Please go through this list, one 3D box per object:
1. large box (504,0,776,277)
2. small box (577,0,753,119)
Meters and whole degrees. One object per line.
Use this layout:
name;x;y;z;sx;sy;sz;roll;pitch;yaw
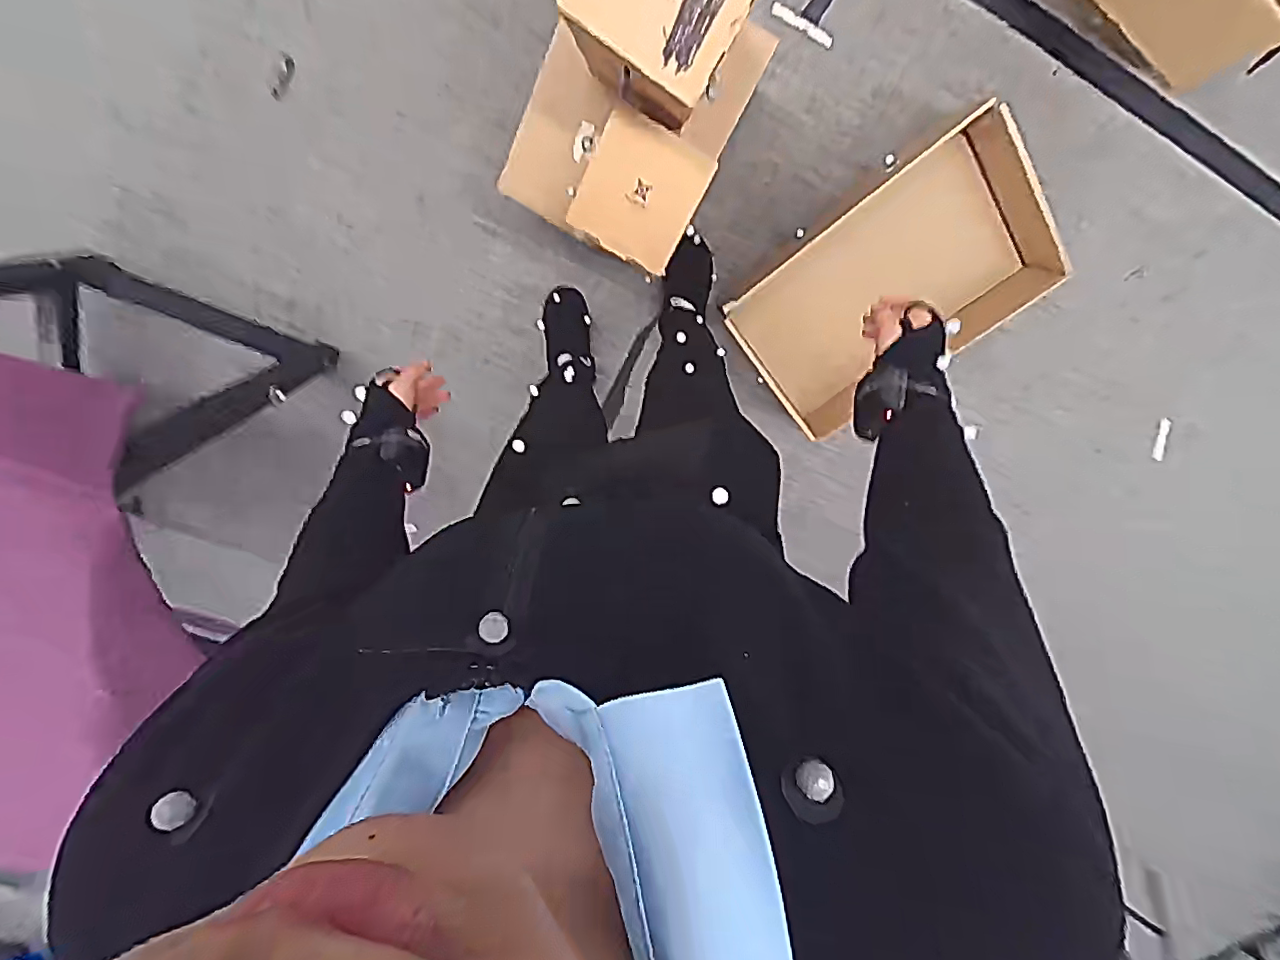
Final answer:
large box;-0.010;-0.662;1.008;0.320;0.320;0.408;26;117;-12
small box;0.035;-0.629;0.745;0.179;0.176;0.168;28;117;-15
